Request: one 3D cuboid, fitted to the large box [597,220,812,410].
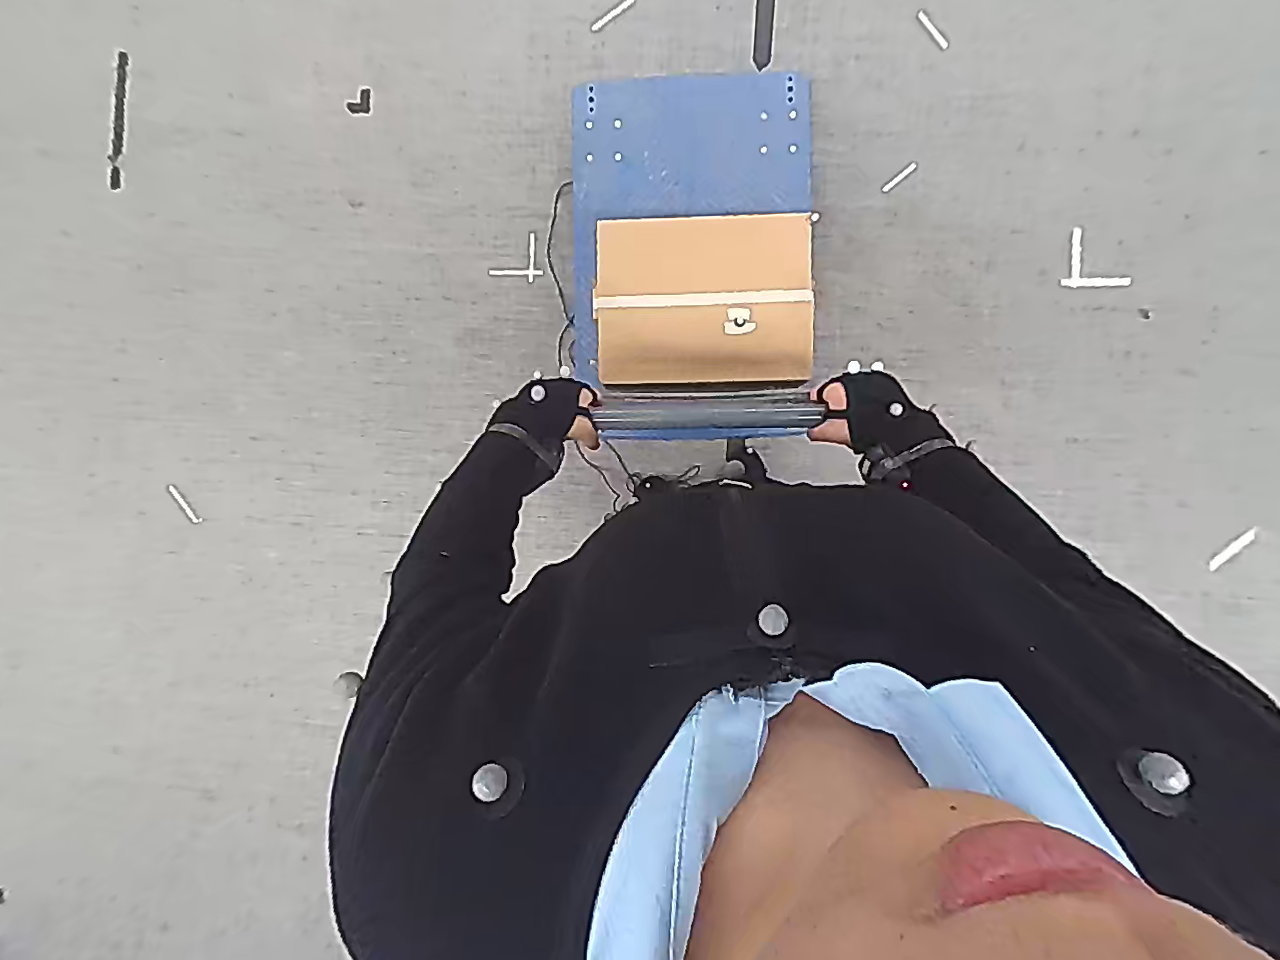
[{"bbox_3d":[0.126,-0.328,1.166,0.408,0.320,0.320,-1,92,3],"label":"large box"}]
